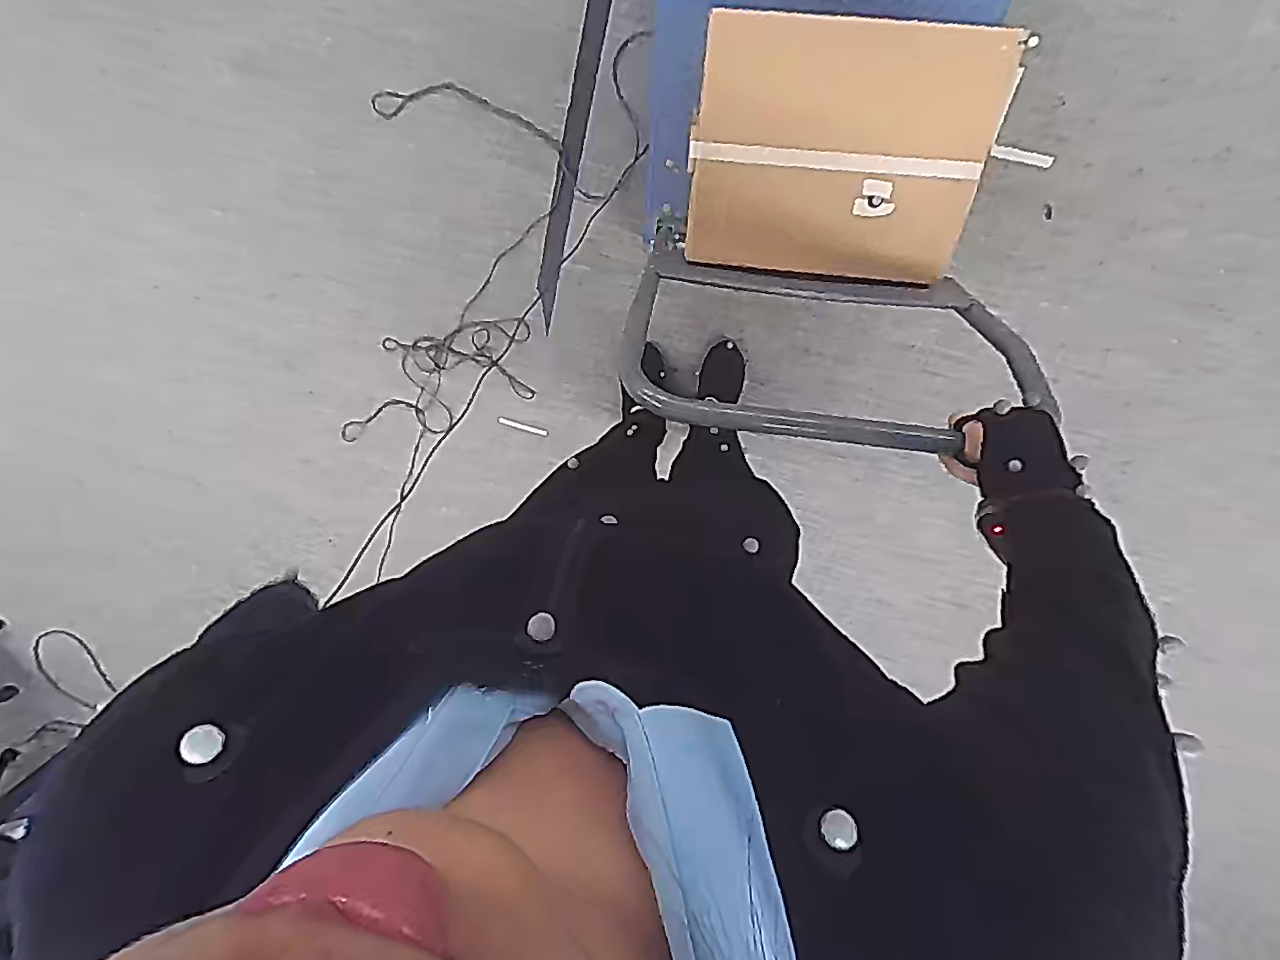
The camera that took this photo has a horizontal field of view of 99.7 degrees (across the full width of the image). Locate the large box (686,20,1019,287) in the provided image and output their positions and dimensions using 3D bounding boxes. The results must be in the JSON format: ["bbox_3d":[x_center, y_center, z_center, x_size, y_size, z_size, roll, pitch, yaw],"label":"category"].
[{"bbox_3d":[0.290,-0.529,0.901,0.408,0.320,0.320,6,124,2],"label":"large box"}]
